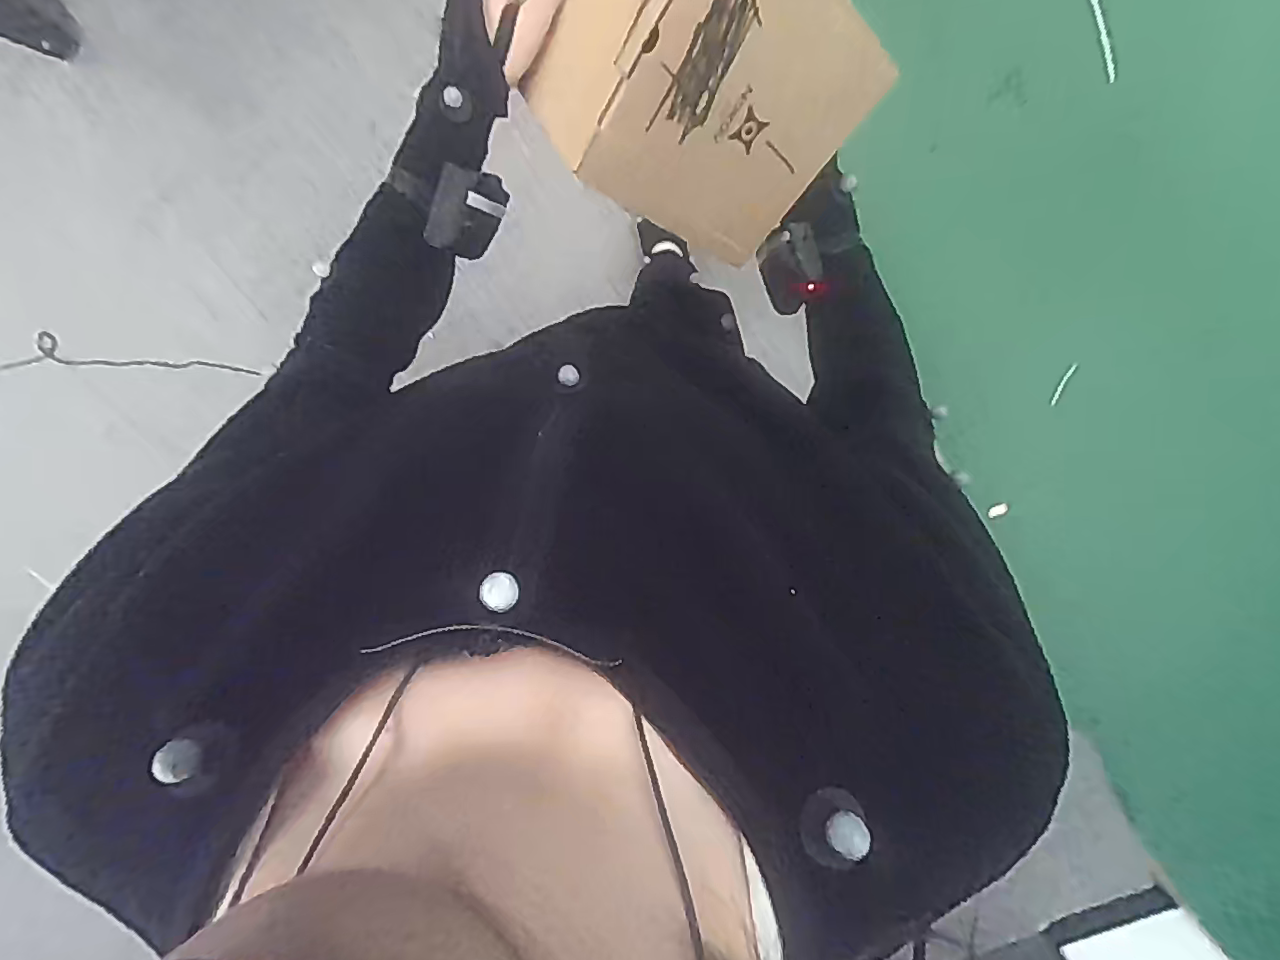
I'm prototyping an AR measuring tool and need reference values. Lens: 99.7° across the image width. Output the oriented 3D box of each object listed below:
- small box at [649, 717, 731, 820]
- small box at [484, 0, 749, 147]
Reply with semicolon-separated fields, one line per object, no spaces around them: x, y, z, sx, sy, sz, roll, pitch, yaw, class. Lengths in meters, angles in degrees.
0.136;0.832;1.572;0.168;0.176;0.179;38;106;-13;small box
-0.026;-0.445;0.464;0.168;0.176;0.179;7;138;-42;small box
